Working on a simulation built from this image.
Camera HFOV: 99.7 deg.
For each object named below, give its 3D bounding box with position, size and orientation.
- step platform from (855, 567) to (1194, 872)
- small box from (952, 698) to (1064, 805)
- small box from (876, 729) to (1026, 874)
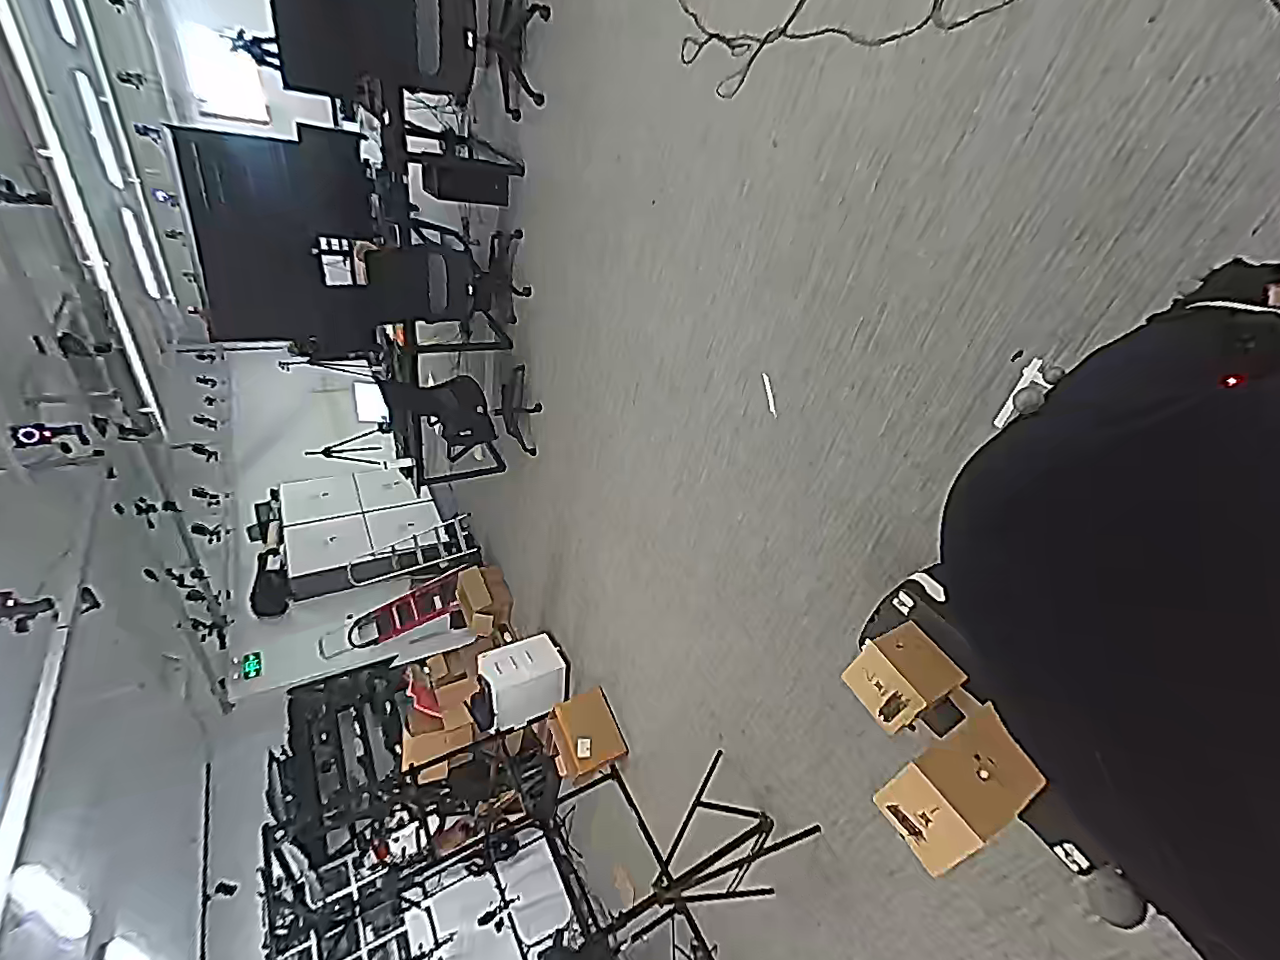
[{"bbox_3d":[0.869,0.548,1.331,0.684,0.204,0.286,49,139,39],"label":"step platform"},{"bbox_3d":[0.768,0.614,1.179,0.168,0.176,0.179,50,139,37],"label":"small box"},{"bbox_3d":[0.630,0.646,1.097,0.168,0.176,0.179,50,139,38],"label":"small box"}]
